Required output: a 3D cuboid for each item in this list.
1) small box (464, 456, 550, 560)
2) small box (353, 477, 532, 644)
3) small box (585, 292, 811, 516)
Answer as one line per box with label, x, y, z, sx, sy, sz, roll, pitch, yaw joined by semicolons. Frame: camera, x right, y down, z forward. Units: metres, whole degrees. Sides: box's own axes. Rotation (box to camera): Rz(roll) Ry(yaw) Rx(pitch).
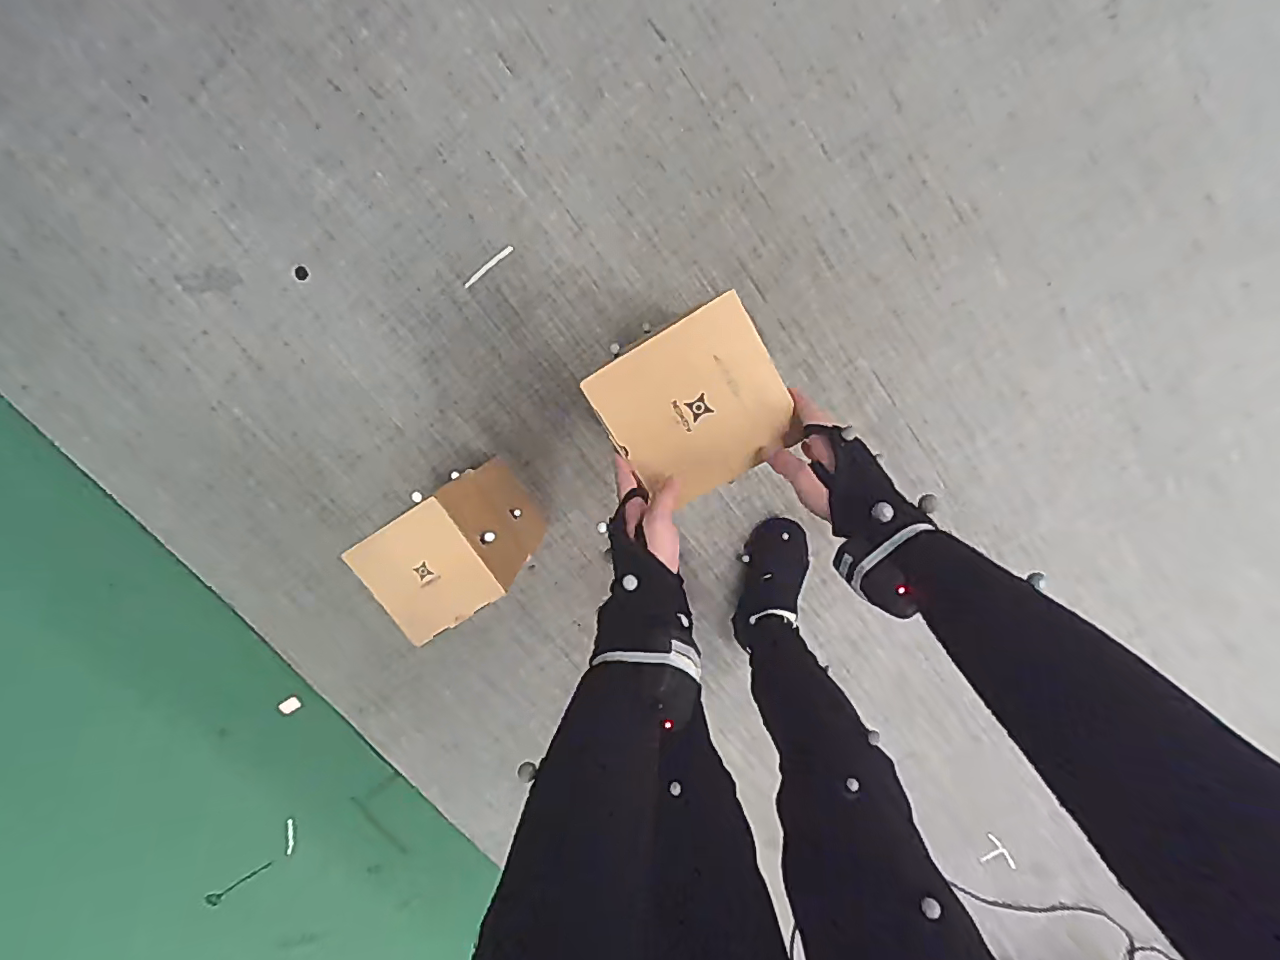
small box;-0.289;0.079;1.017;0.168;0.176;0.179;-32;103;8
small box;-0.293;0.111;0.842;0.168;0.176;0.179;-31;103;8
small box;0.062;-0.089;0.612;0.179;0.176;0.168;-29;103;9
